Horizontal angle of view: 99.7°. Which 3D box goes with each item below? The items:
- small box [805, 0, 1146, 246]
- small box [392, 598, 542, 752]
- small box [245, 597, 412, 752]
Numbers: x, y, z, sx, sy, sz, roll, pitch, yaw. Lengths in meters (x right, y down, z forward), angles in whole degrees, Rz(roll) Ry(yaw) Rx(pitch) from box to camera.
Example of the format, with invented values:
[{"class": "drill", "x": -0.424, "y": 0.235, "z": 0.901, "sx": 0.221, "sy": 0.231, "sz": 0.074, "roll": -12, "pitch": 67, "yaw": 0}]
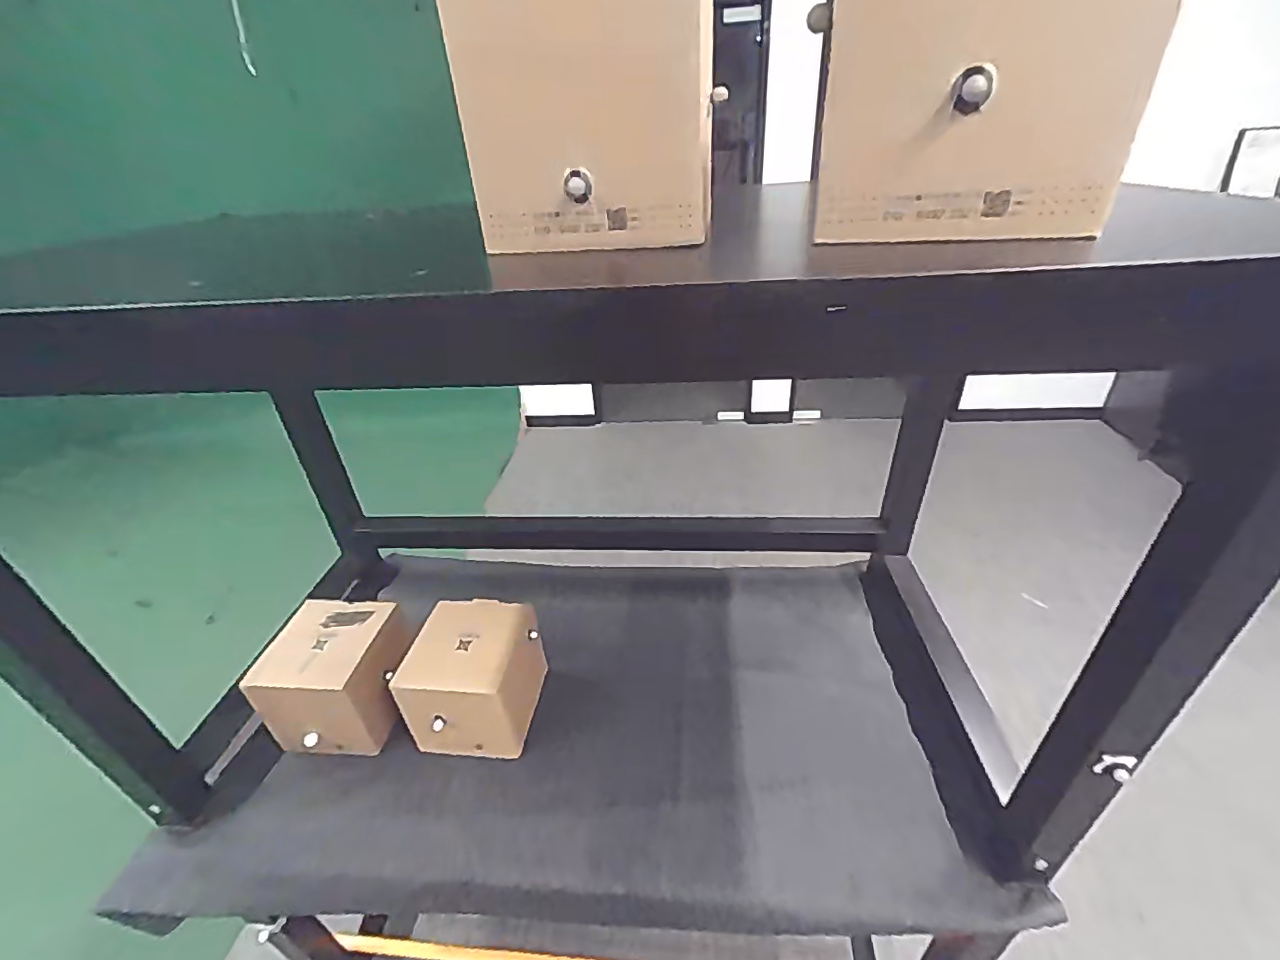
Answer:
[{"class": "small box", "x": 0.212, "y": -0.266, "z": 0.382, "sx": 0.168, "sy": 0.176, "sz": 0.179, "roll": 6, "pitch": 33, "yaw": 15}, {"class": "small box", "x": -0.267, "y": 0.317, "z": 0.885, "sx": 0.168, "sy": 0.176, "sz": 0.179, "roll": 1, "pitch": 32, "yaw": 7}, {"class": "small box", "x": -0.494, "y": 0.319, "z": 0.900, "sx": 0.168, "sy": 0.176, "sz": 0.179, "roll": 0, "pitch": 33, "yaw": 6}]
